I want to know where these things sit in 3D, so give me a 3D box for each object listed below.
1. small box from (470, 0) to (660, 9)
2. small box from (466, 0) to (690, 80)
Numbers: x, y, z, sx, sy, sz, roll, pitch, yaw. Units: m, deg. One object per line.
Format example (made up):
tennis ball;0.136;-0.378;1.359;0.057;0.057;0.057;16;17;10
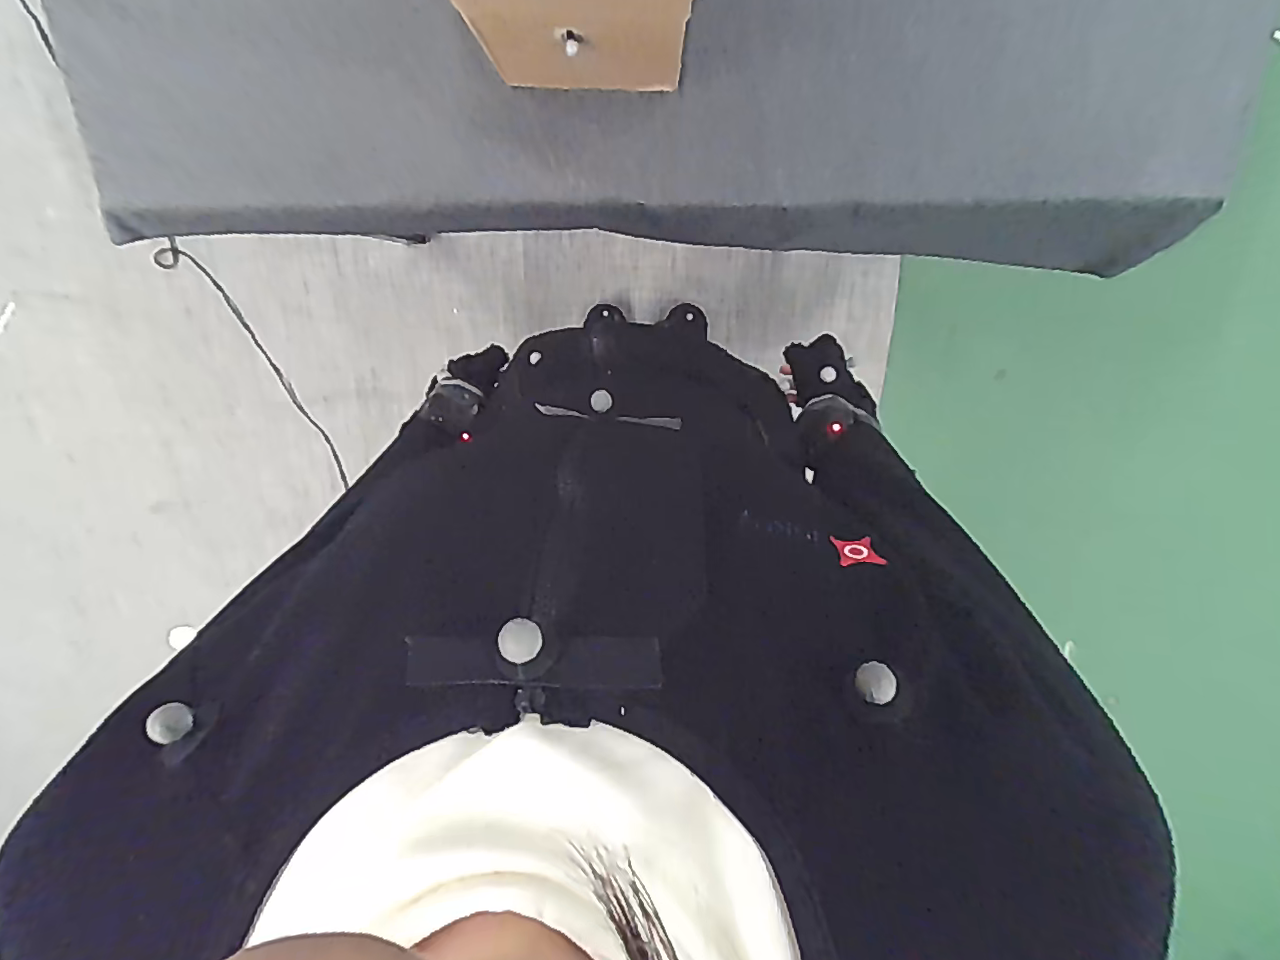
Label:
small box;-0.050;-0.396;0.295;0.179;0.176;0.168;3;110;3
small box;-0.044;-0.457;0.448;0.179;0.176;0.168;1;110;1
